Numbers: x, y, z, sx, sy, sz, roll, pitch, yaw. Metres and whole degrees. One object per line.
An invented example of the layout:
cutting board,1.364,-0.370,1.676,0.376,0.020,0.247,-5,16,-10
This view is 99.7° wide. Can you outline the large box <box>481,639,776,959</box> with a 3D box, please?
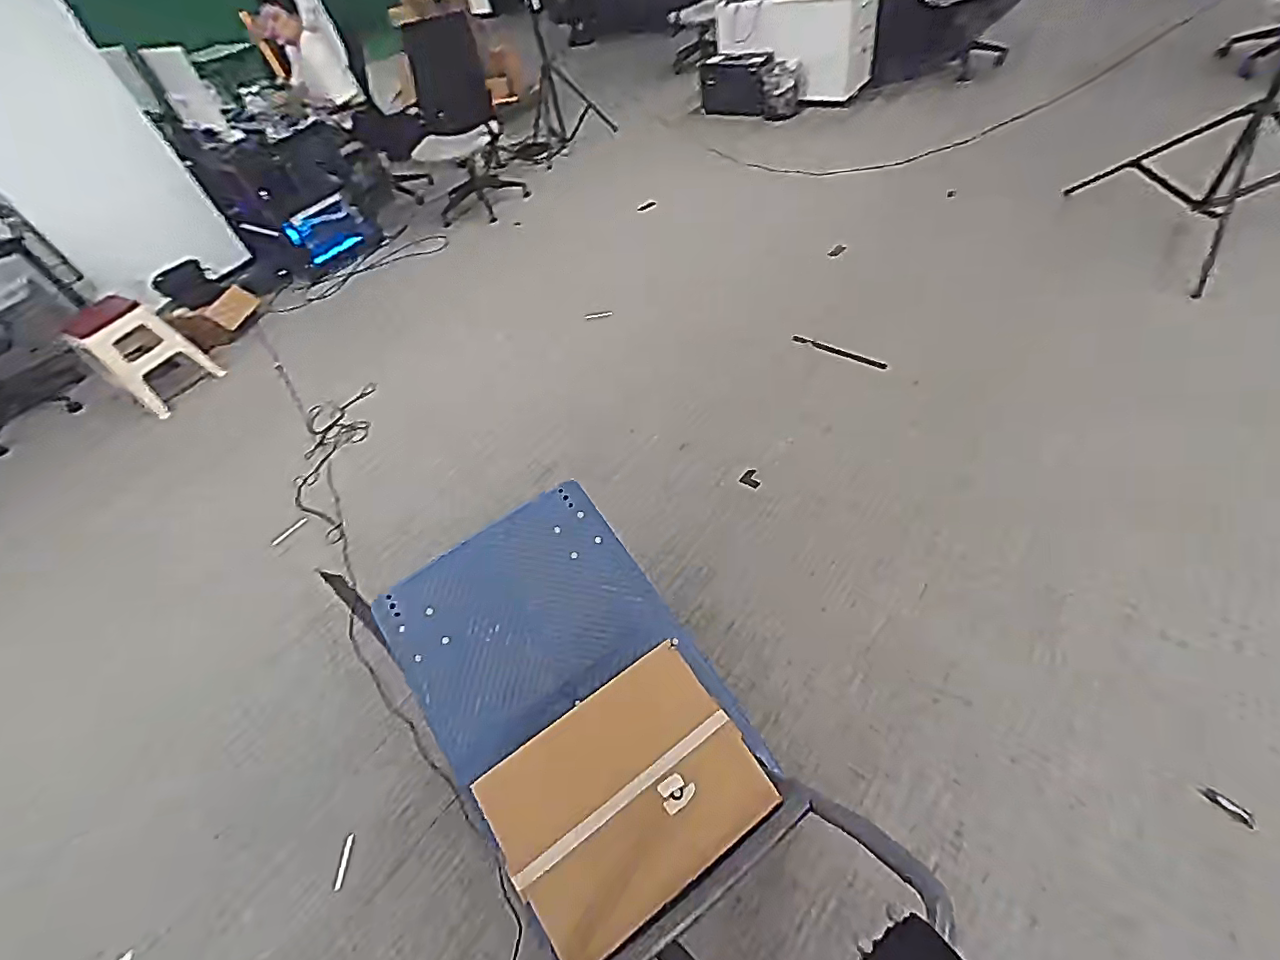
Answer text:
large box,-0.023,0.571,1.026,0.408,0.320,0.320,-33,72,-16
